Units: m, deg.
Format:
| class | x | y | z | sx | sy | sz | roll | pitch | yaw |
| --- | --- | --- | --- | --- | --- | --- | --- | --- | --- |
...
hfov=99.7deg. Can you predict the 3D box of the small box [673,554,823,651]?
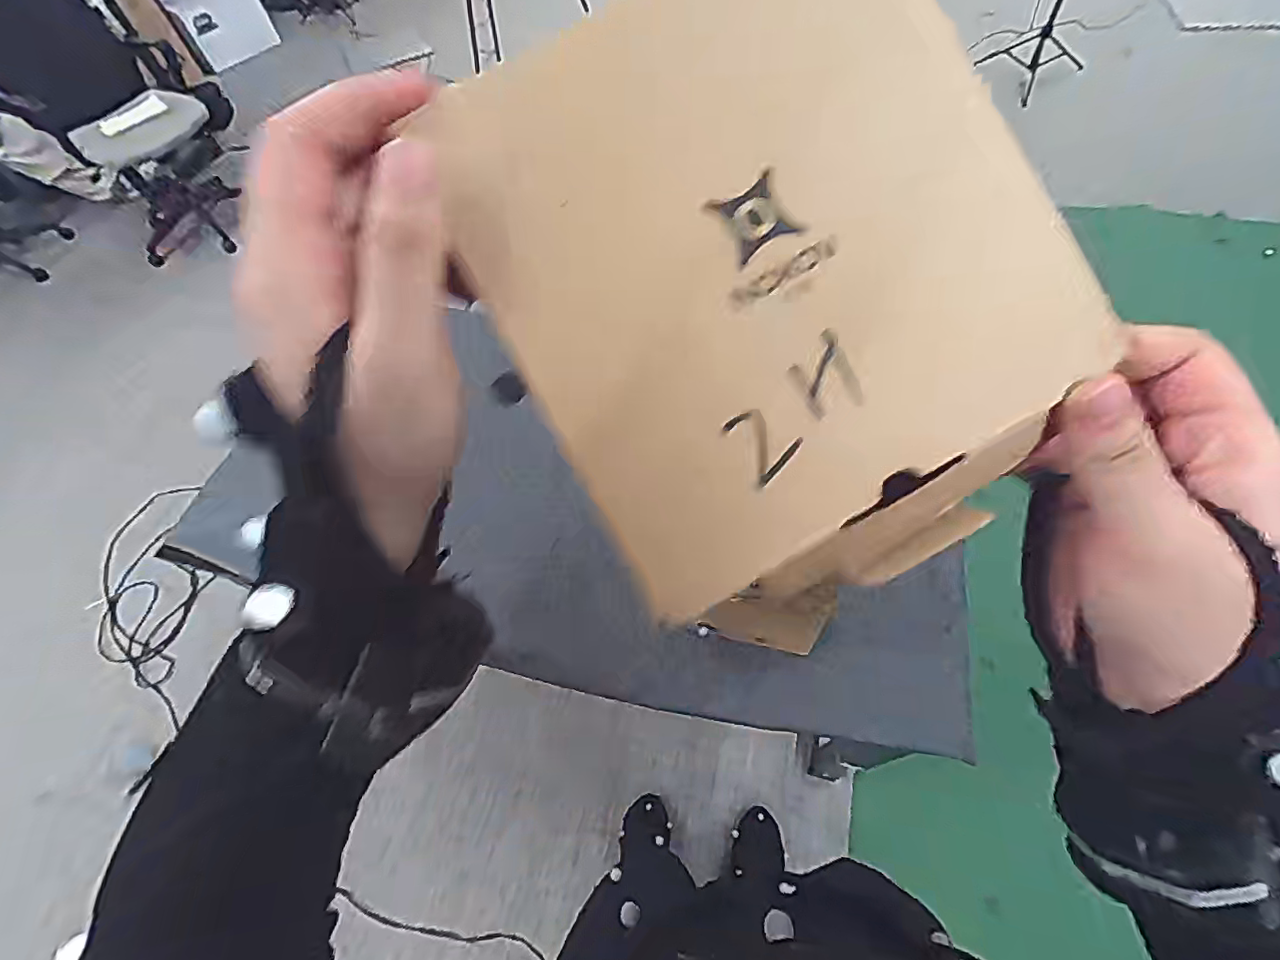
| class | x | y | z | sx | sy | sz | roll | pitch | yaw |
| --- | --- | --- | --- | --- | --- | --- | --- | --- | --- |
| small box | 0.145 | 0.094 | 0.677 | 0.168 | 0.176 | 0.179 | 10 | 57 | 13 |
